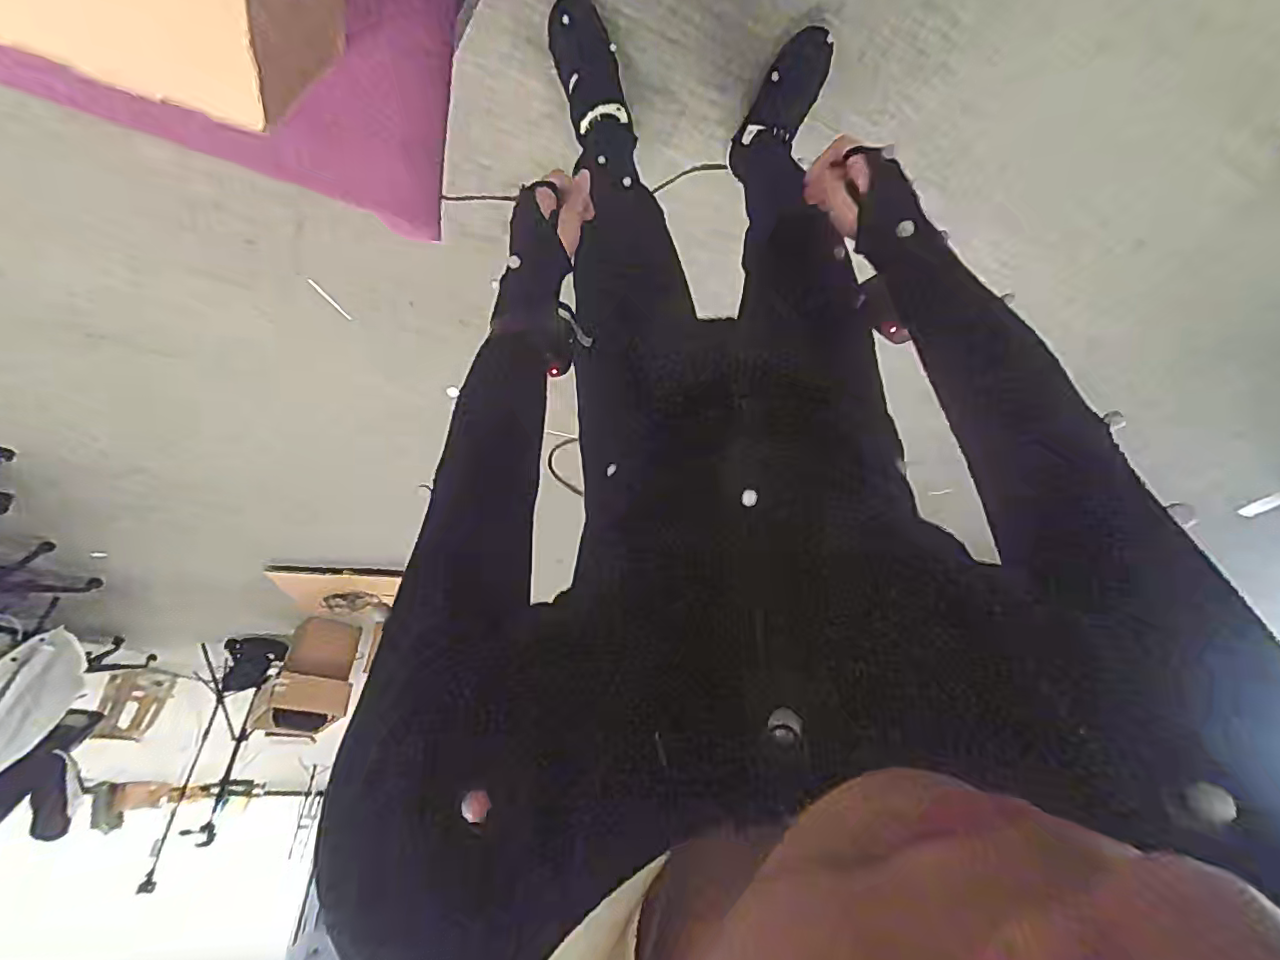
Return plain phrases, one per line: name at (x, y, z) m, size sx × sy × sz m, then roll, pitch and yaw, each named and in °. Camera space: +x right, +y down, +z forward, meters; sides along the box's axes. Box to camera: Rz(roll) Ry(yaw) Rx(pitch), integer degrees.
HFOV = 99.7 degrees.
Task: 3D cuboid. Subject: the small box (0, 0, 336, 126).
small box at (-0.286, -0.352, 0.301) m, size 0.168 × 0.176 × 0.179 m, roll 12°, pitch 142°, yaw -17°
